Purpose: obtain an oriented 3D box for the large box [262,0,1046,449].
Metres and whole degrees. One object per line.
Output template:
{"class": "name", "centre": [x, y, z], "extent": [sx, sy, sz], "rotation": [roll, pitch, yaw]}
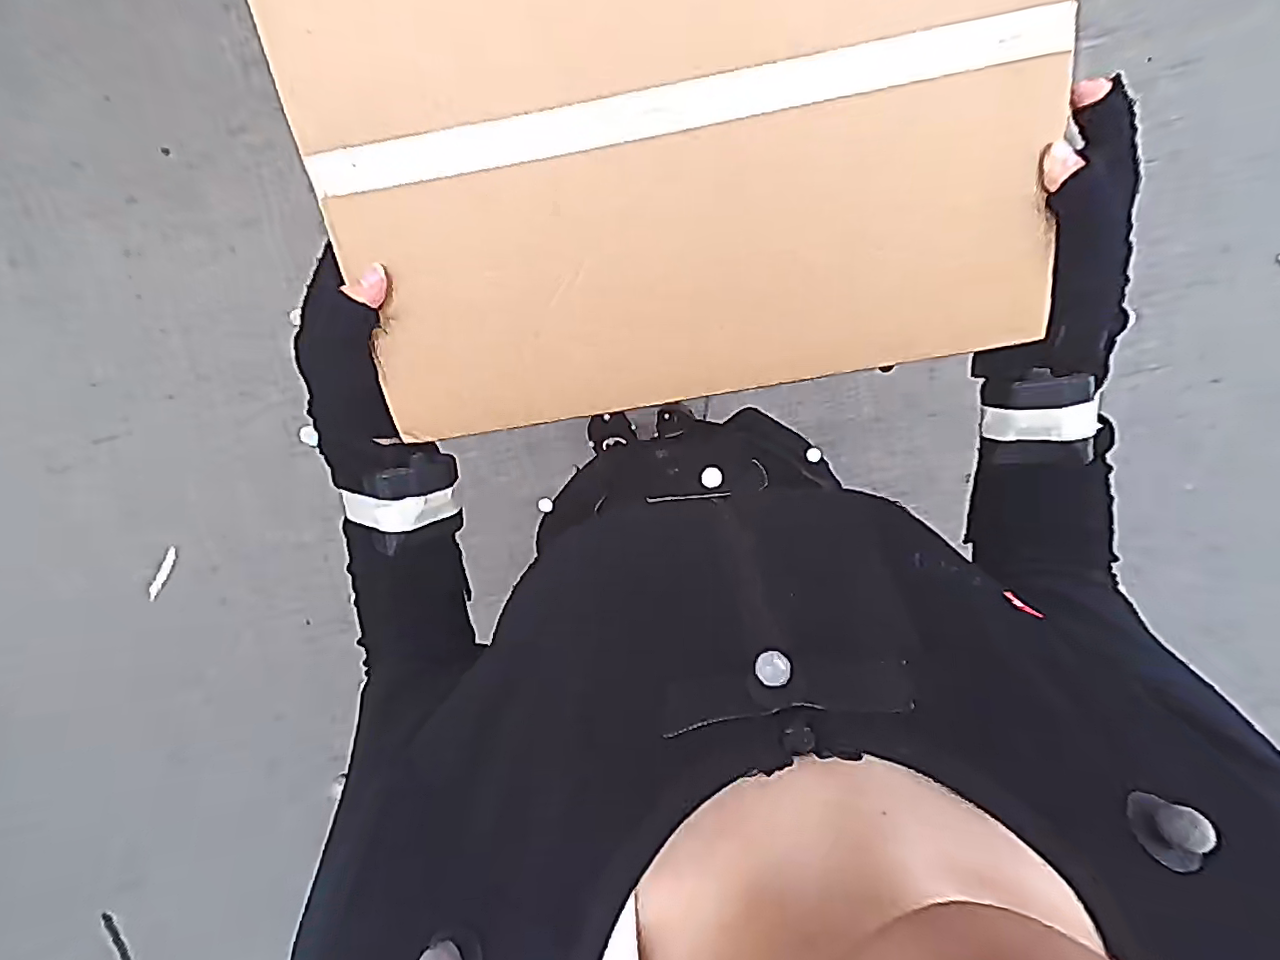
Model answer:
{"class": "large box", "centre": [0.017, -0.248, 0.437], "extent": [0.408, 0.320, 0.320], "rotation": [-9, 110, 3]}
